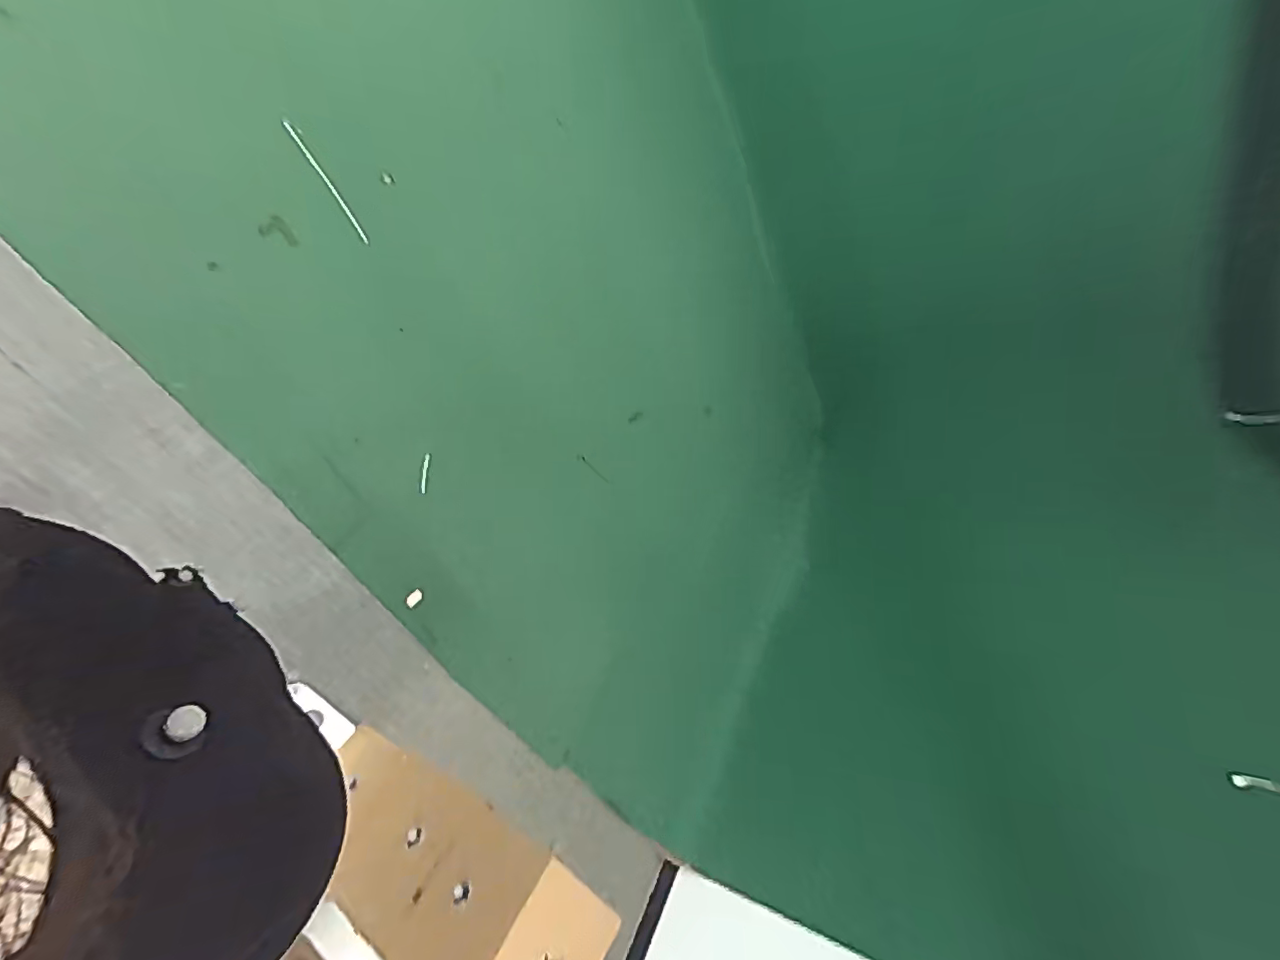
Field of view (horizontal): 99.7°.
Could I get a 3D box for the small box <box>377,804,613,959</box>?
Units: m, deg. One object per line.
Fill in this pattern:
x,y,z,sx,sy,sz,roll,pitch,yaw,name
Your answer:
-0.170,0.523,0.642,0.168,0.176,0.179,-51,126,-36,small box

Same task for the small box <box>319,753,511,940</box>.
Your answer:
-0.296,0.517,0.748,0.179,0.176,0.168,-51,127,-36,small box
